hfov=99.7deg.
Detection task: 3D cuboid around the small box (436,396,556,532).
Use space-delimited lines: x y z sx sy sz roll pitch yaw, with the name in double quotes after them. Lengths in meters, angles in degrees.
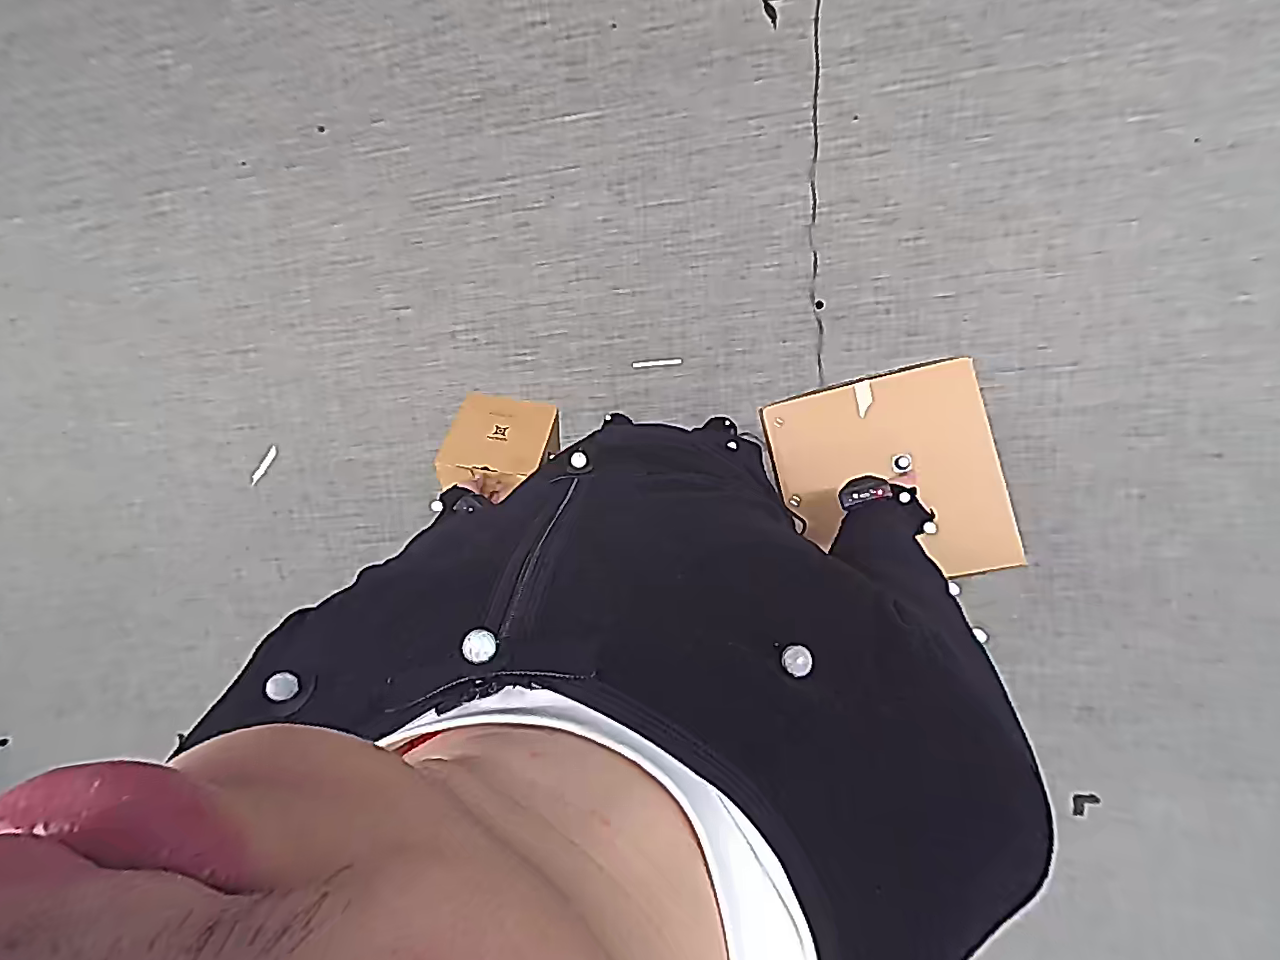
-0.250 -0.026 0.991 0.168 0.179 0.176 9 138 0 "small box"
